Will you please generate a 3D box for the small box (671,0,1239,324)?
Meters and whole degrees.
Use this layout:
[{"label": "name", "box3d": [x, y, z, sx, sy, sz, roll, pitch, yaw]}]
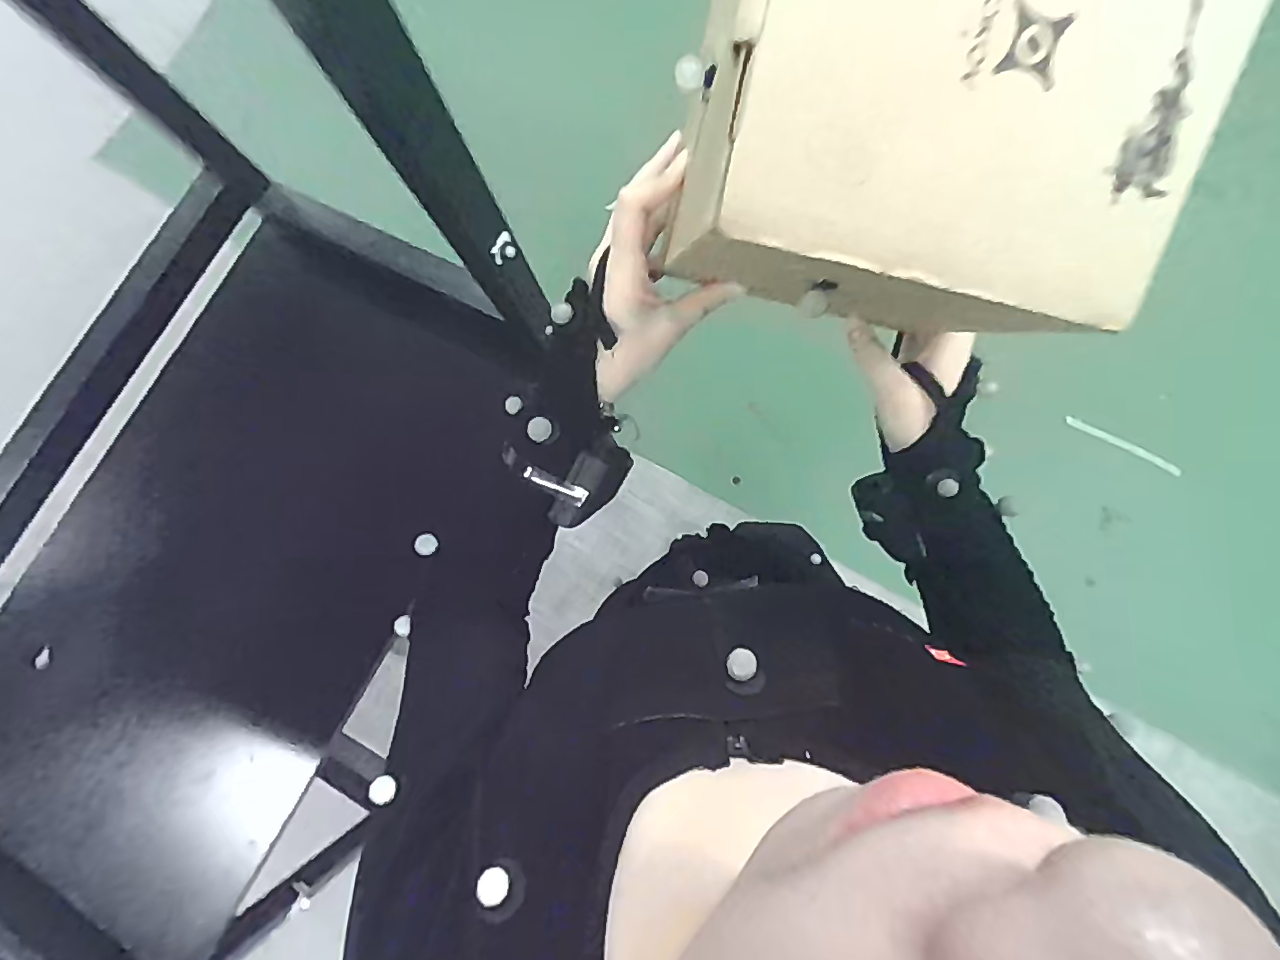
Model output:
[{"label": "small box", "box3d": [0.121, -0.178, 0.272, 0.179, 0.176, 0.168, 11, 104, -7]}]
